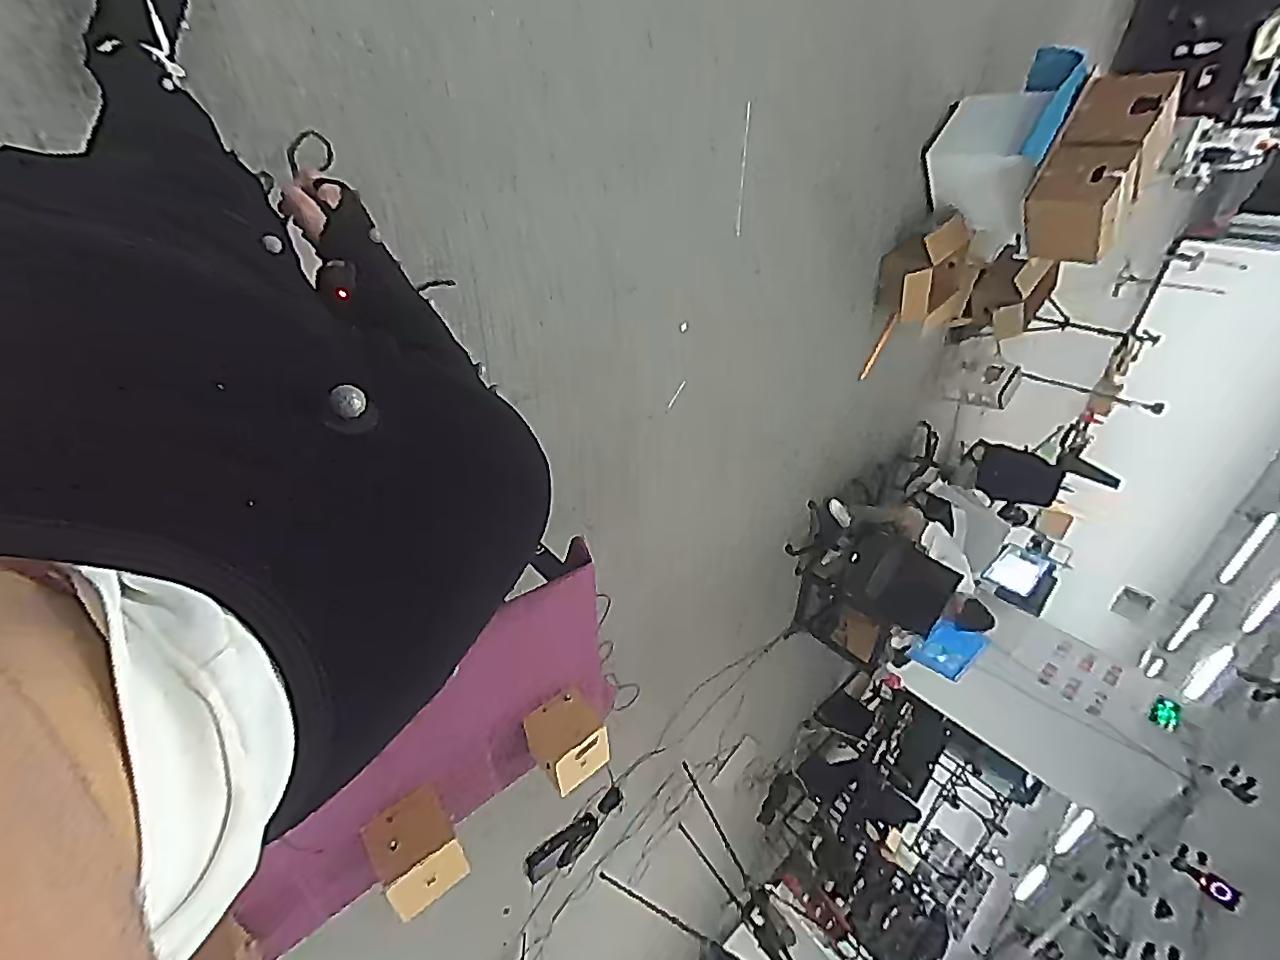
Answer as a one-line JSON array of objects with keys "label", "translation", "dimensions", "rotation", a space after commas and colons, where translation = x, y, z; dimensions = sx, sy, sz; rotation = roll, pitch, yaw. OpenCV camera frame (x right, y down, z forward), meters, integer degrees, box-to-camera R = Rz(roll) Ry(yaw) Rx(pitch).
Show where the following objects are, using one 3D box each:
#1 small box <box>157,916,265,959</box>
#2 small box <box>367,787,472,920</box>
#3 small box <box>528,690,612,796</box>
[{"label": "small box", "translation": [-0.841, 1.005, 1.048], "dimensions": [0.168, 0.176, 0.179], "rotation": [-24, 128, -33]}, {"label": "small box", "translation": [-0.523, 0.871, 1.280], "dimensions": [0.168, 0.176, 0.179], "rotation": [-24, 130, -32]}, {"label": "small box", "translation": [-0.196, 0.718, 1.503], "dimensions": [0.168, 0.176, 0.179], "rotation": [-25, 131, -31]}]
